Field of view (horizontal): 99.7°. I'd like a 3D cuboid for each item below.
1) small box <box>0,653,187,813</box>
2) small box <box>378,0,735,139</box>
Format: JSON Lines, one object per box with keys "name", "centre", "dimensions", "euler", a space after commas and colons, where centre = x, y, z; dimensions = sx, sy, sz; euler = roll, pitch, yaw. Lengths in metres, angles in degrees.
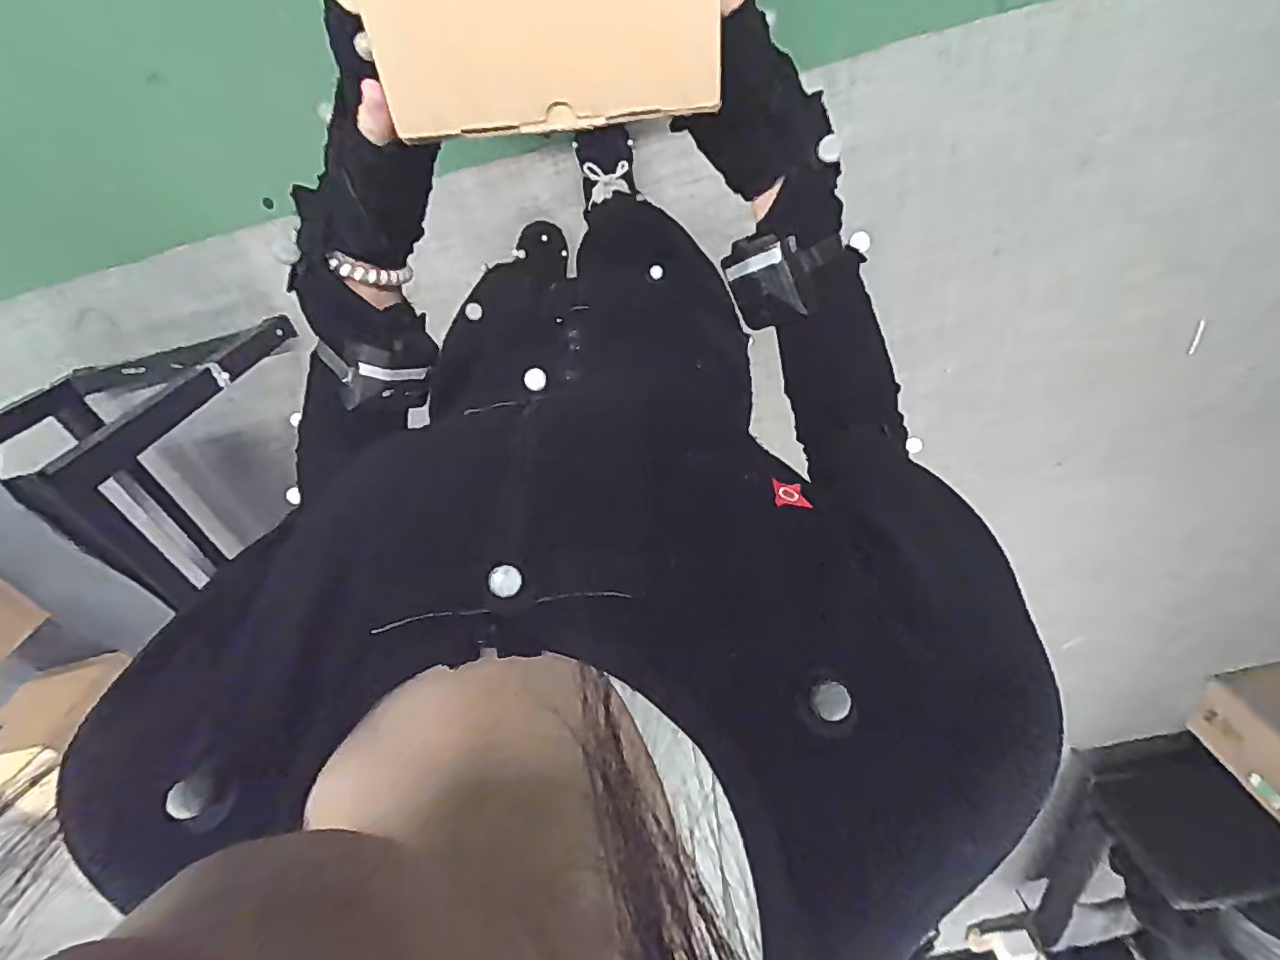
{"name": "small box", "centre": [-0.929, 0.418, 0.902], "dimensions": [0.179, 0.176, 0.168], "euler": [-14, 125, 5]}
{"name": "small box", "centre": [-0.051, -0.299, 0.287], "dimensions": [0.168, 0.176, 0.179], "euler": [-9, 129, -4]}
